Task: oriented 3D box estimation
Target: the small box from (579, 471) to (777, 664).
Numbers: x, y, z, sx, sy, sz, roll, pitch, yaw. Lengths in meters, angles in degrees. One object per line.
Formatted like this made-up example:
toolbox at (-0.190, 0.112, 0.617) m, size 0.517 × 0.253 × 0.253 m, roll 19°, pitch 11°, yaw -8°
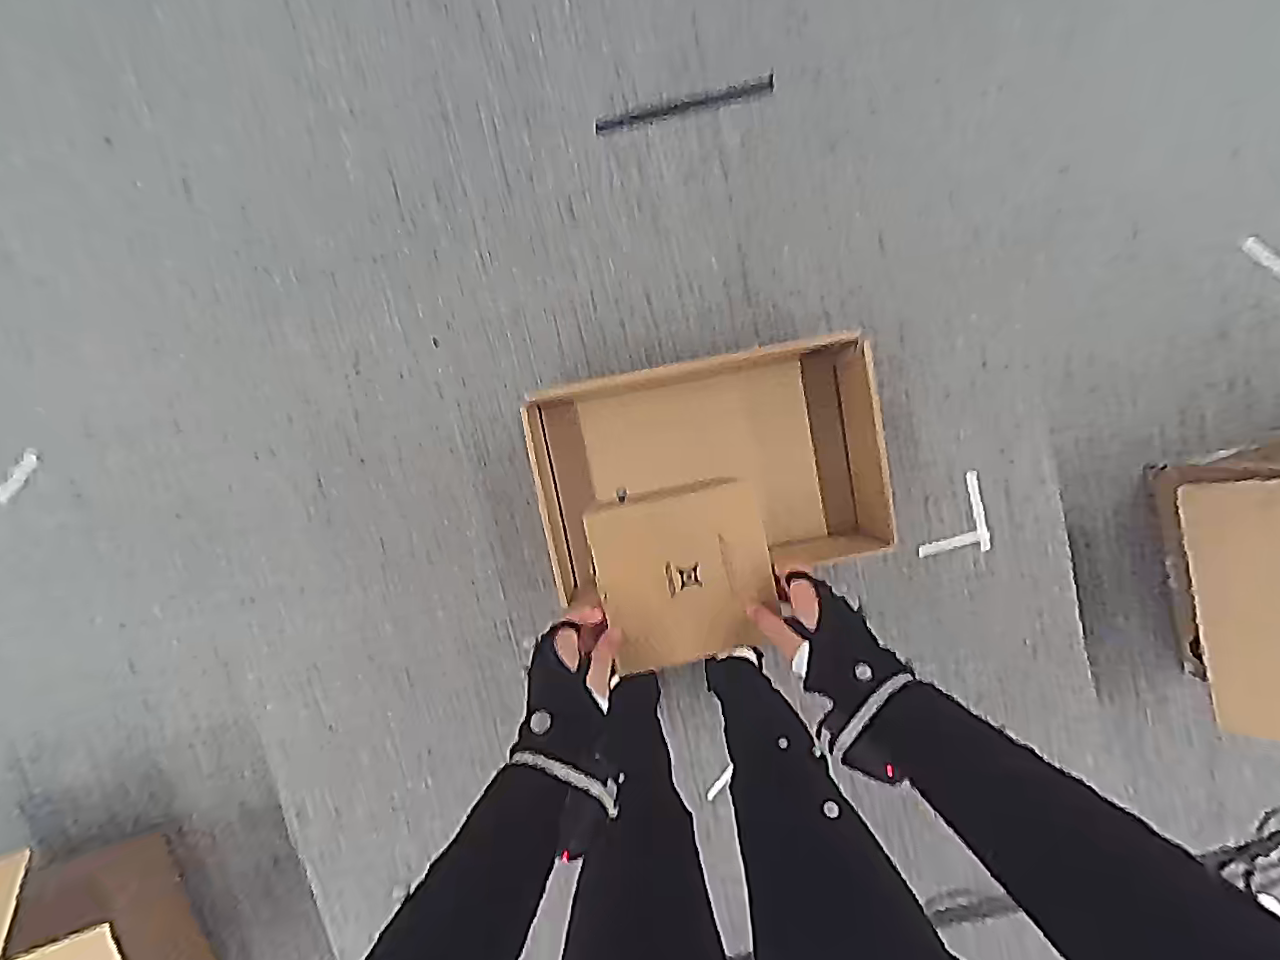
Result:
small box at (0.036, 0.088, 0.623) m, size 0.179 × 0.176 × 0.168 m, roll -13°, pitch 92°, yaw -3°
